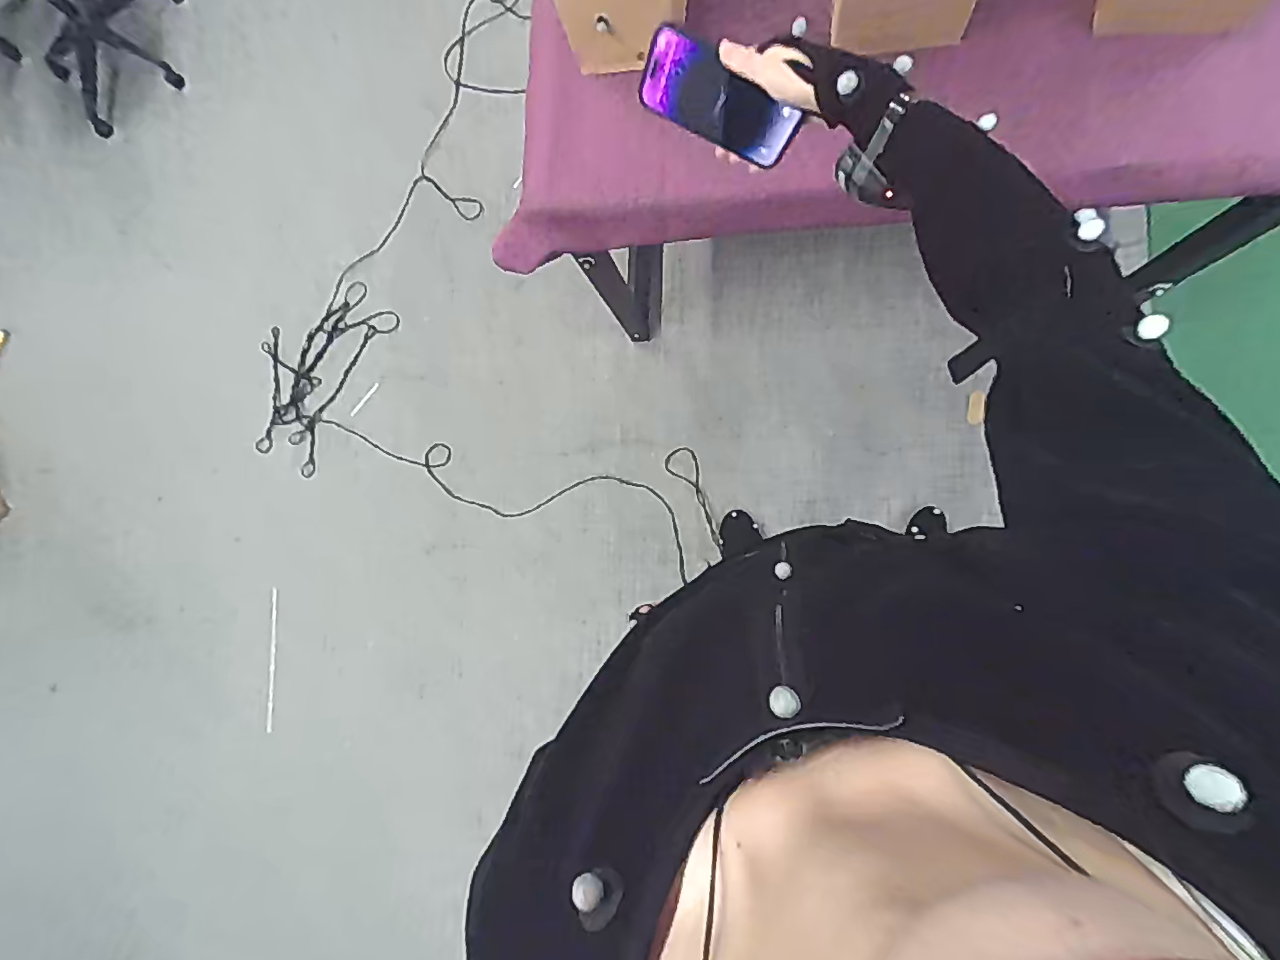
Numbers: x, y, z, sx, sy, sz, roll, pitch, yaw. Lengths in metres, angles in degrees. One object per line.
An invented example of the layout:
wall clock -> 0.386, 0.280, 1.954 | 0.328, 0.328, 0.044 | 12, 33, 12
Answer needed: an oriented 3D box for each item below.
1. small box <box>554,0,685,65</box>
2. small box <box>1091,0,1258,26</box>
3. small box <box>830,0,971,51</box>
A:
small box -> -0.025, -0.750, 0.792 | 0.168, 0.176, 0.179 | 4, 86, 13
small box -> 0.684, -0.678, 0.631 | 0.179, 0.176, 0.168 | 10, 87, 13
small box -> 0.354, -0.709, 0.704 | 0.179, 0.176, 0.168 | 3, 86, 13
